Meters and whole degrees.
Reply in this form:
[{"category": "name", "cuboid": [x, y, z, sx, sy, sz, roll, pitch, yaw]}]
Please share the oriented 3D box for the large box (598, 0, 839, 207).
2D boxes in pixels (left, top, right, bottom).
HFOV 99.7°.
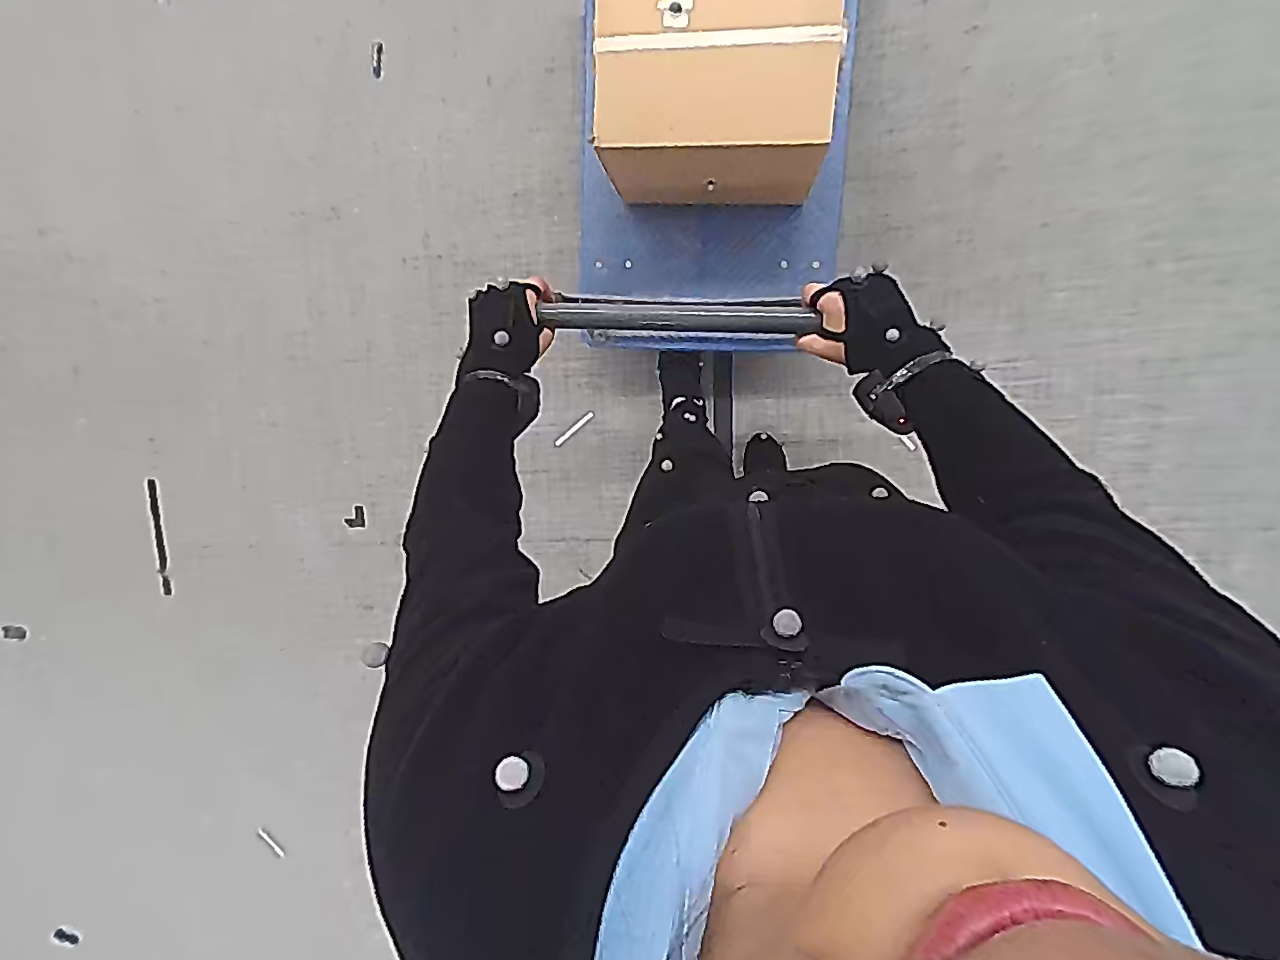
[{"category": "large box", "cuboid": [0.150, -0.745, 1.057, 0.408, 0.320, 0.320, 4, 99, 9]}]
